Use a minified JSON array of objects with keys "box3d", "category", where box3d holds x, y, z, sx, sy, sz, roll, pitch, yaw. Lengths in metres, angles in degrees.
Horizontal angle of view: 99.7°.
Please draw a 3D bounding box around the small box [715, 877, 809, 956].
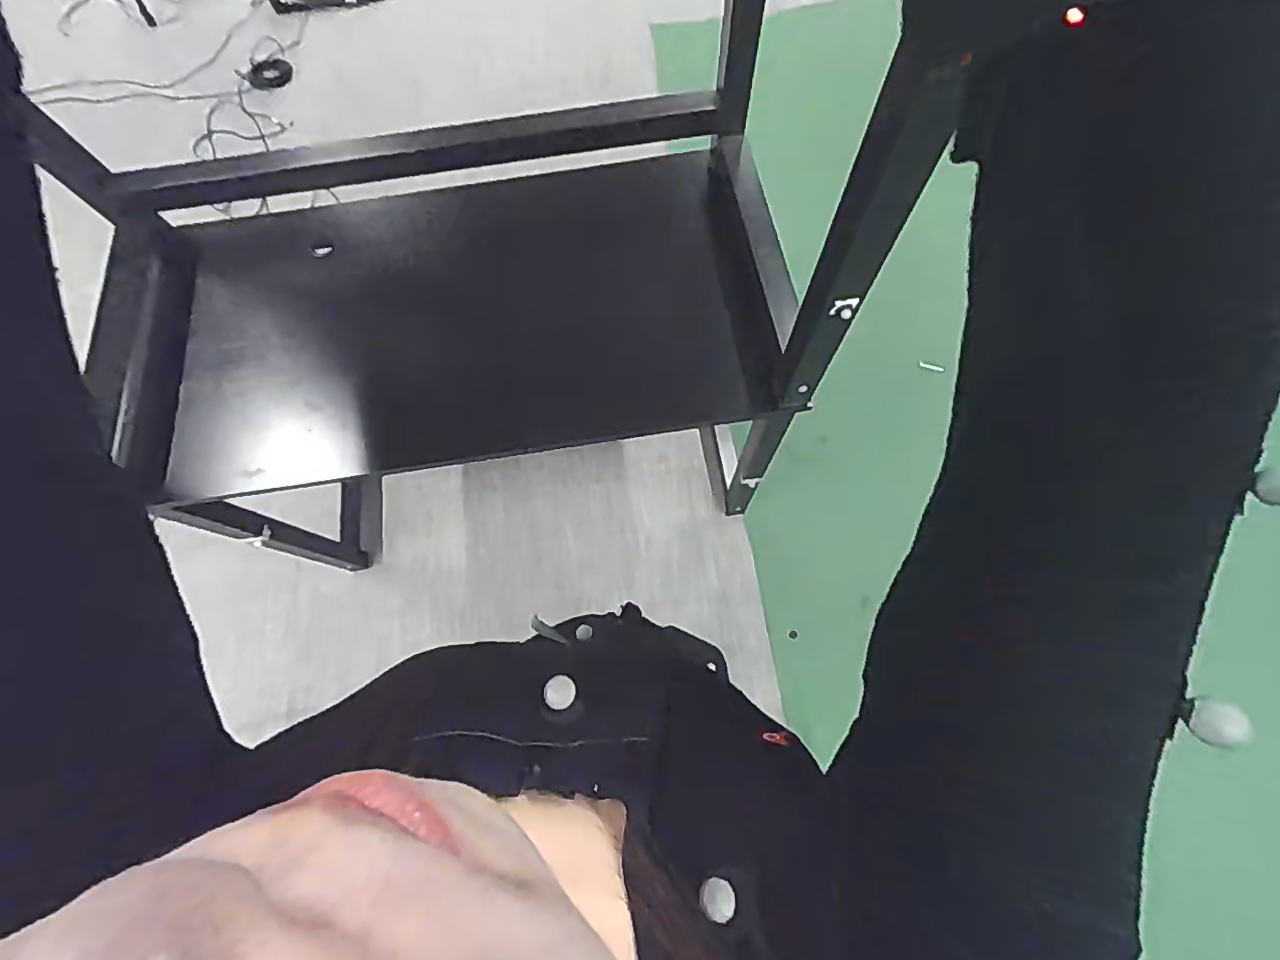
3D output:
[{"box3d":[0.271,1.019,1.199,0.168,0.176,0.179,-15,73,-1],"category":"small box"}]
